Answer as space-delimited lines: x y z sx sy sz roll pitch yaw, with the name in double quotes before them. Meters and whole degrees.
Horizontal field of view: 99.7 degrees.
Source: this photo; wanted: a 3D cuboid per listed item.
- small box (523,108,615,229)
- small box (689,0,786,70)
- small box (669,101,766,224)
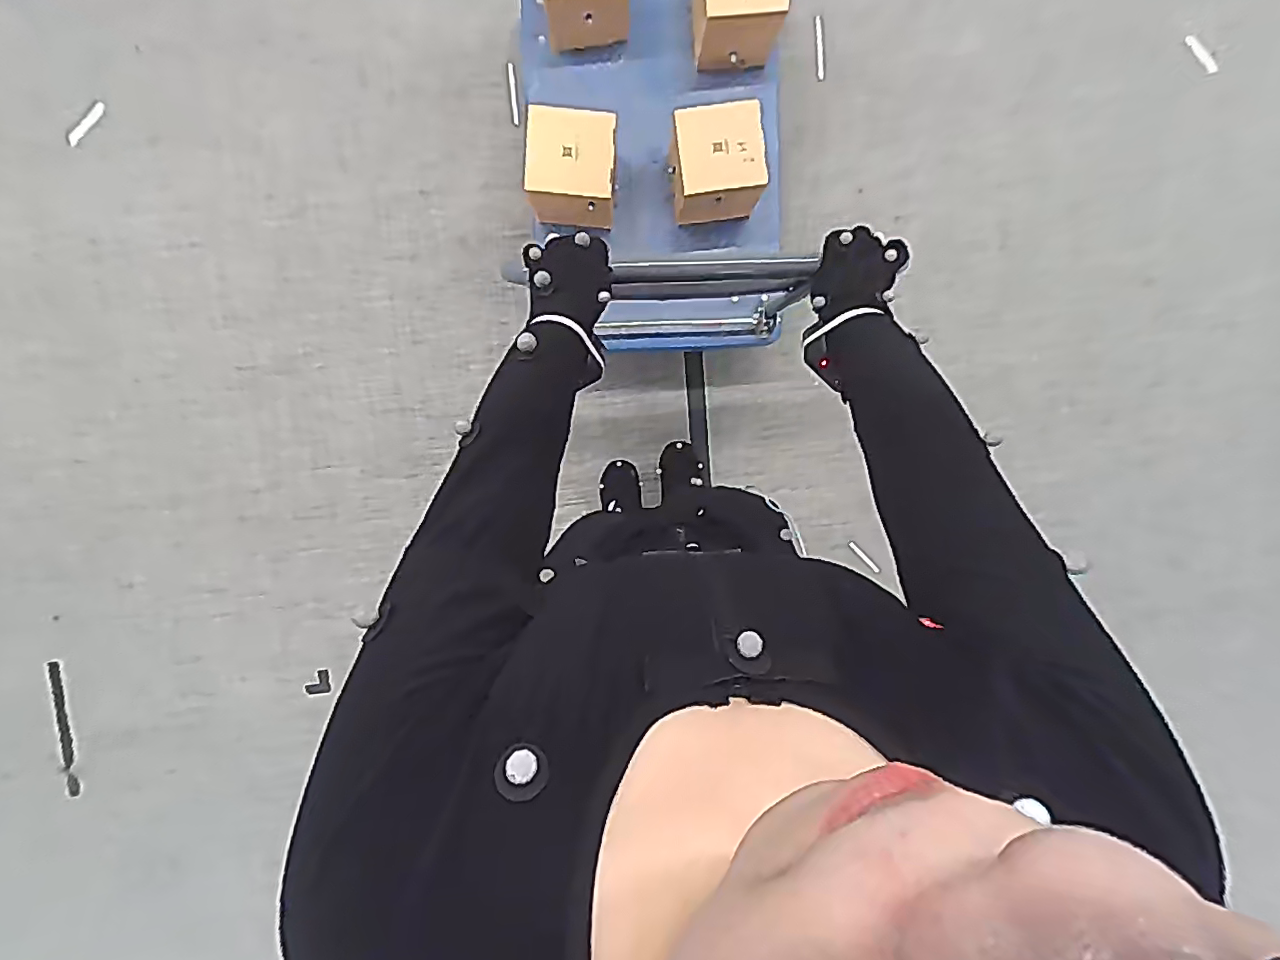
"small box" -0.146 -0.654 1.154 0.179 0.176 0.168 3 95 -3
"small box" 0.196 -1.005 1.128 0.168 0.176 0.179 -6 97 -1
"small box" 0.158 -0.669 1.161 0.179 0.176 0.168 -8 96 -1
